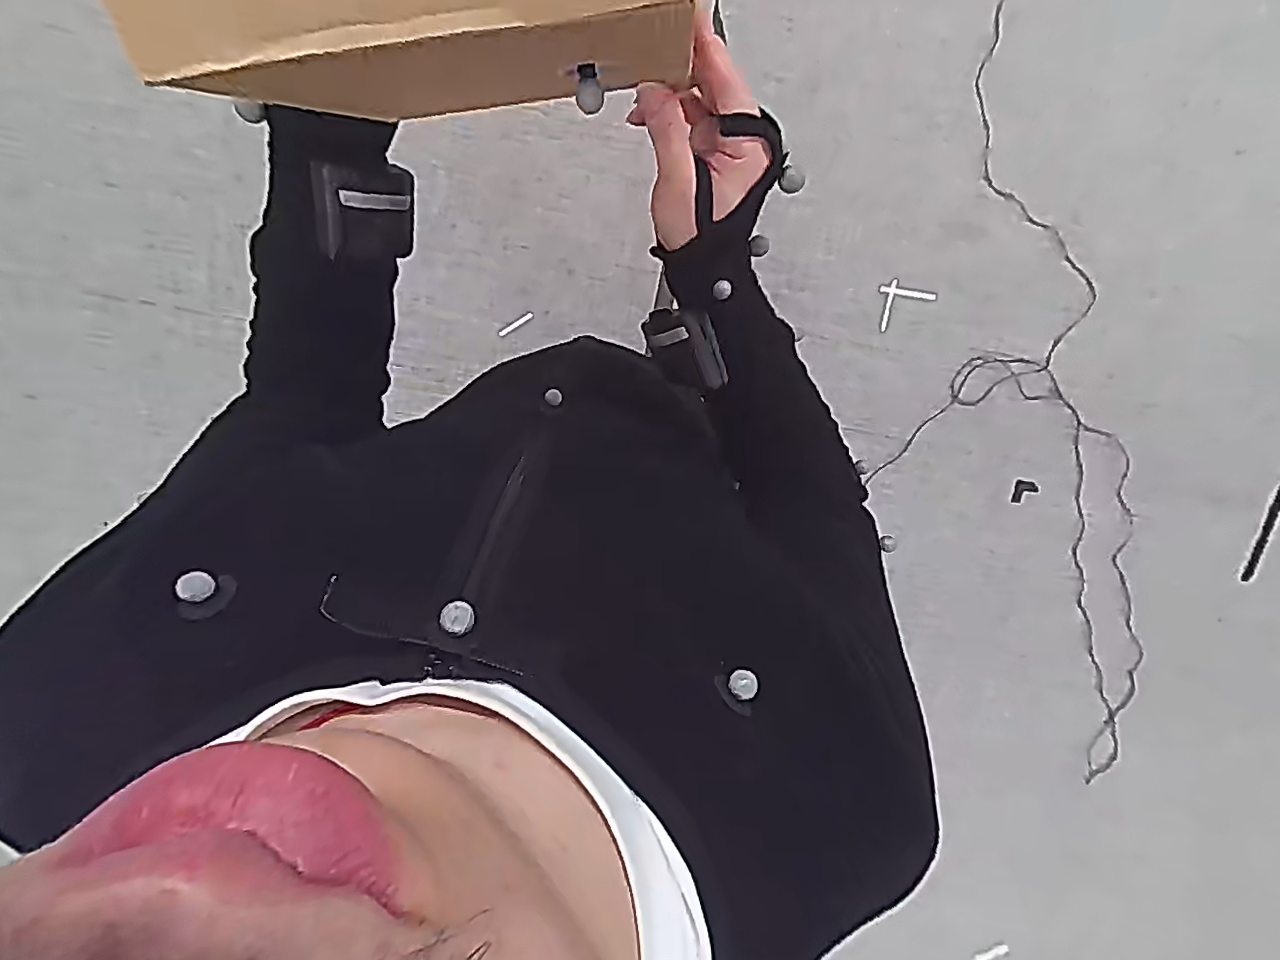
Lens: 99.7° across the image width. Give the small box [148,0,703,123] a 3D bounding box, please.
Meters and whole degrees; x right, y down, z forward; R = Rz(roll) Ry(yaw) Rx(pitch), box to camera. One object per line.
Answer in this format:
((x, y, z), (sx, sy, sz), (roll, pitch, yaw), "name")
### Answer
((-0.070, -0.245, 0.202), (0.179, 0.176, 0.168), (-3, 119, 7), "small box")
